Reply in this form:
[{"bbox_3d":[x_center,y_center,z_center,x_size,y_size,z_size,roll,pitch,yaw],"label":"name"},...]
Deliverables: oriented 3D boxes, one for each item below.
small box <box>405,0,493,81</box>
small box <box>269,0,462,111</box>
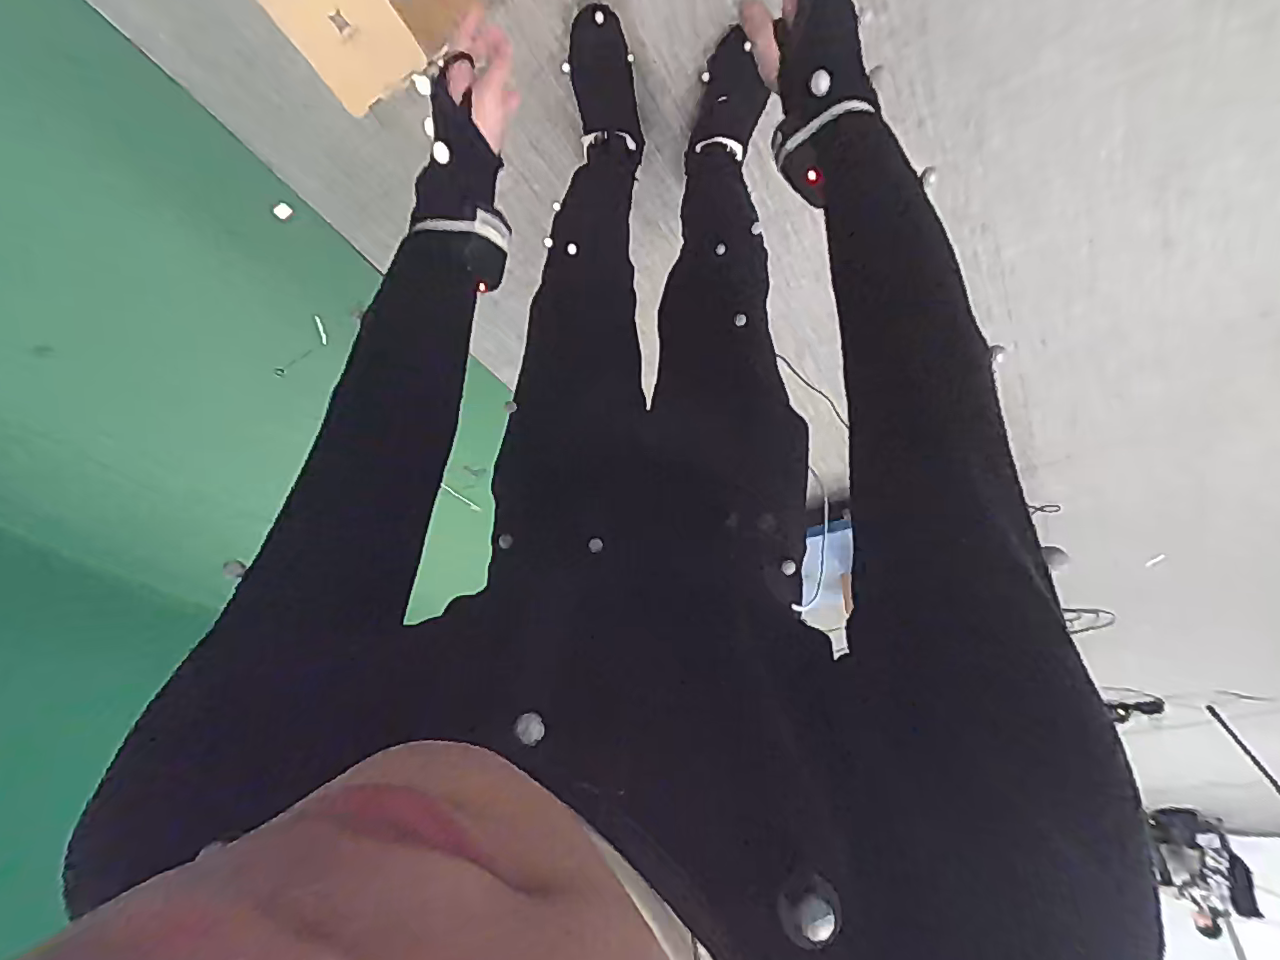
[{"bbox_3d":[-0.374,-0.829,0.904,0.168,0.176,0.179,-15,139,26],"label":"small box"},{"bbox_3d":[-0.393,-0.695,0.787,0.168,0.176,0.179,-15,139,26],"label":"small box"}]
